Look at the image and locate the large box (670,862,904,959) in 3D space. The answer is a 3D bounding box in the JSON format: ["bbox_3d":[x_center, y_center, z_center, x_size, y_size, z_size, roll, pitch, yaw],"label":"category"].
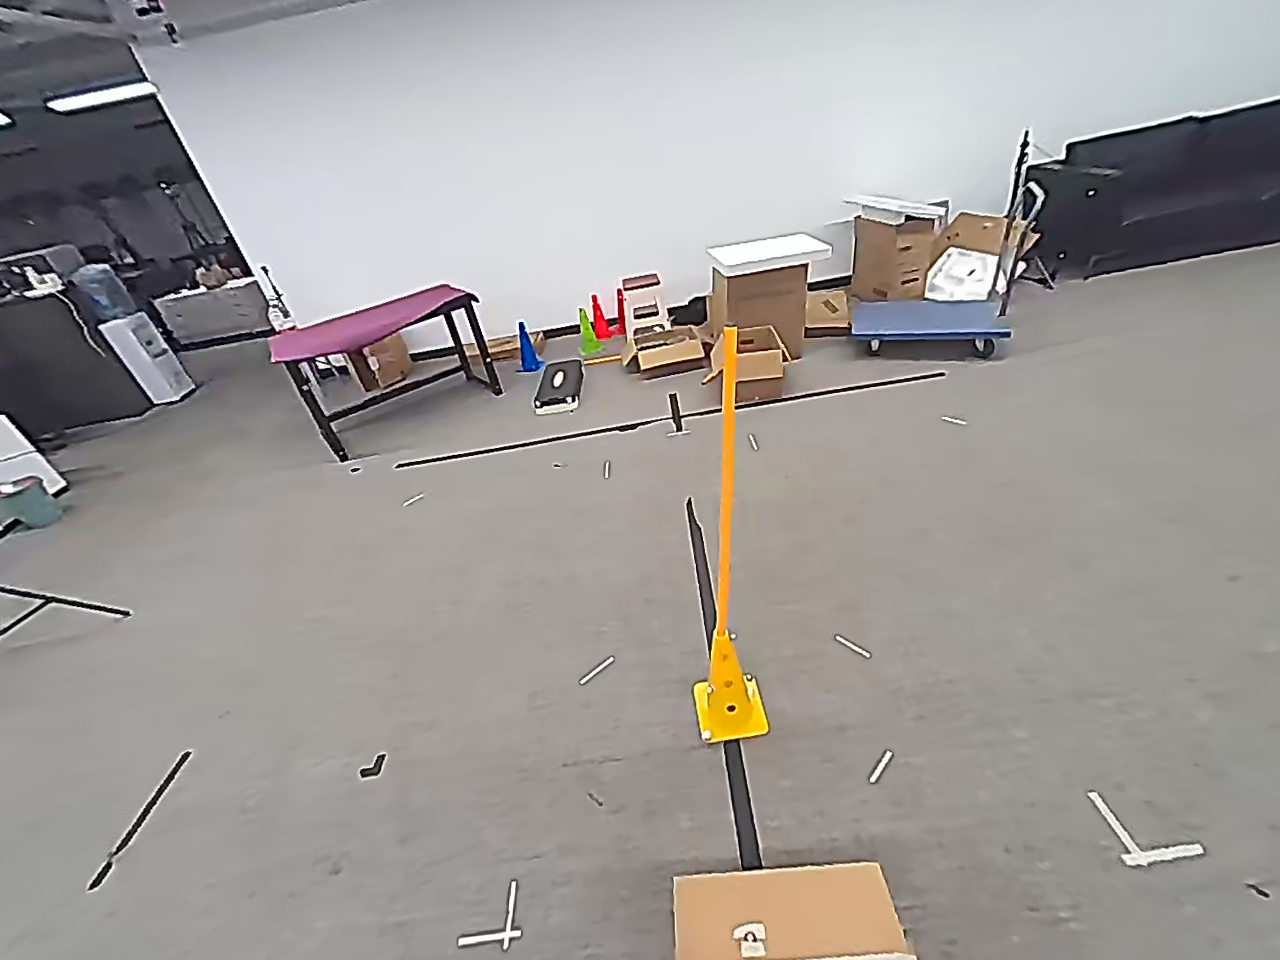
[{"bbox_3d":[0.283,0.978,1.013,0.408,0.320,0.320,-8,31,4],"label":"large box"}]
